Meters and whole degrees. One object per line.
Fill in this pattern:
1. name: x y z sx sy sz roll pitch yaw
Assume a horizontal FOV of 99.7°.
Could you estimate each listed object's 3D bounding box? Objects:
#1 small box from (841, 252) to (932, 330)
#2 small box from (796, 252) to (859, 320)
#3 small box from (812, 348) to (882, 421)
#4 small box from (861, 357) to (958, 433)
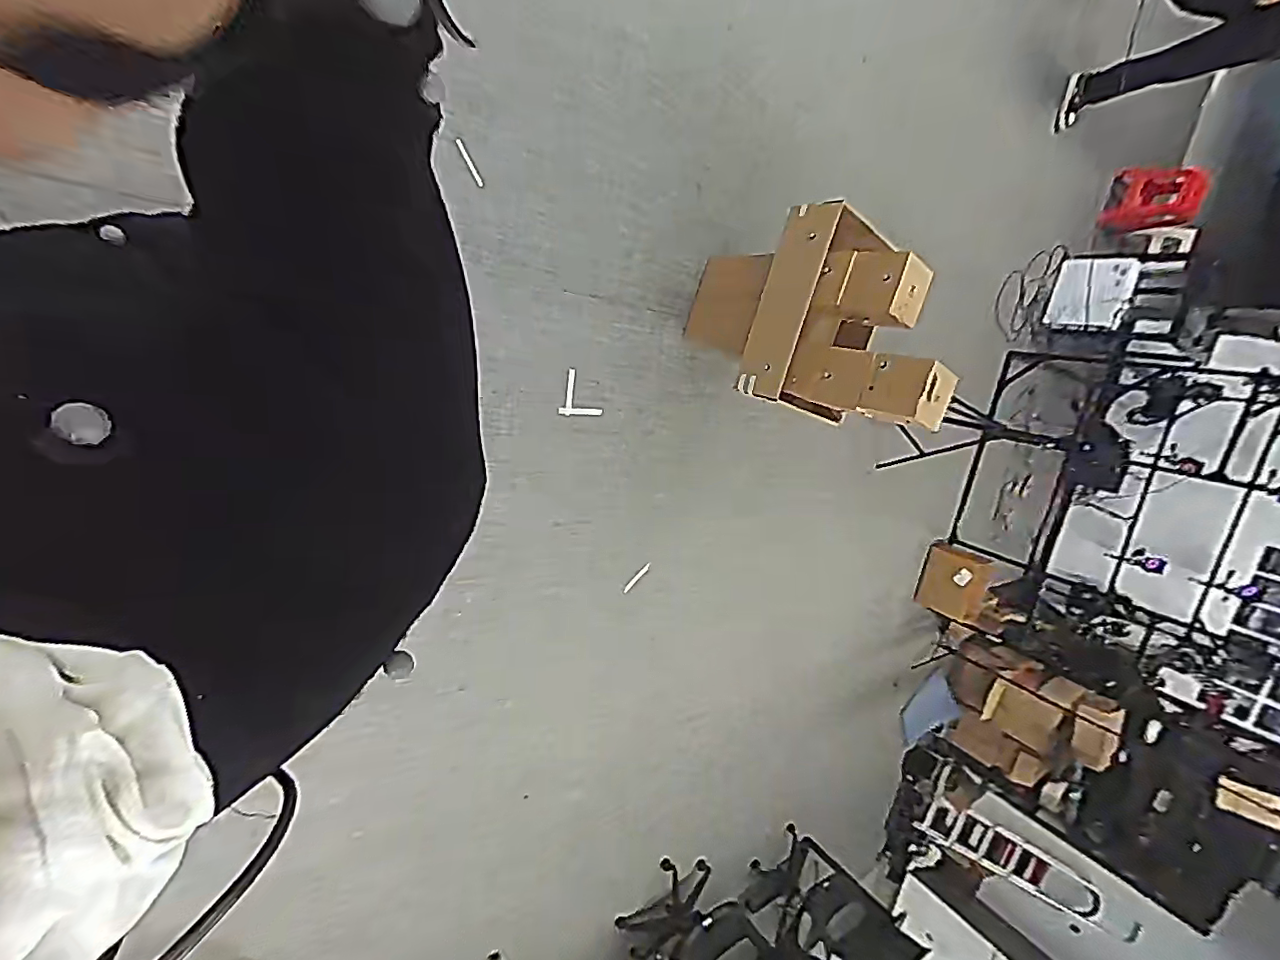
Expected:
1. small box: 0.737 -0.567 1.627 0.168 0.176 0.179 10 101 -40
2. small box: 0.635 -0.621 1.745 0.179 0.176 0.168 8 103 -40
3. small box: 0.659 -0.296 1.666 0.168 0.176 0.179 7 103 -40
4. small box: 0.768 -0.247 1.552 0.179 0.176 0.168 12 99 -41
